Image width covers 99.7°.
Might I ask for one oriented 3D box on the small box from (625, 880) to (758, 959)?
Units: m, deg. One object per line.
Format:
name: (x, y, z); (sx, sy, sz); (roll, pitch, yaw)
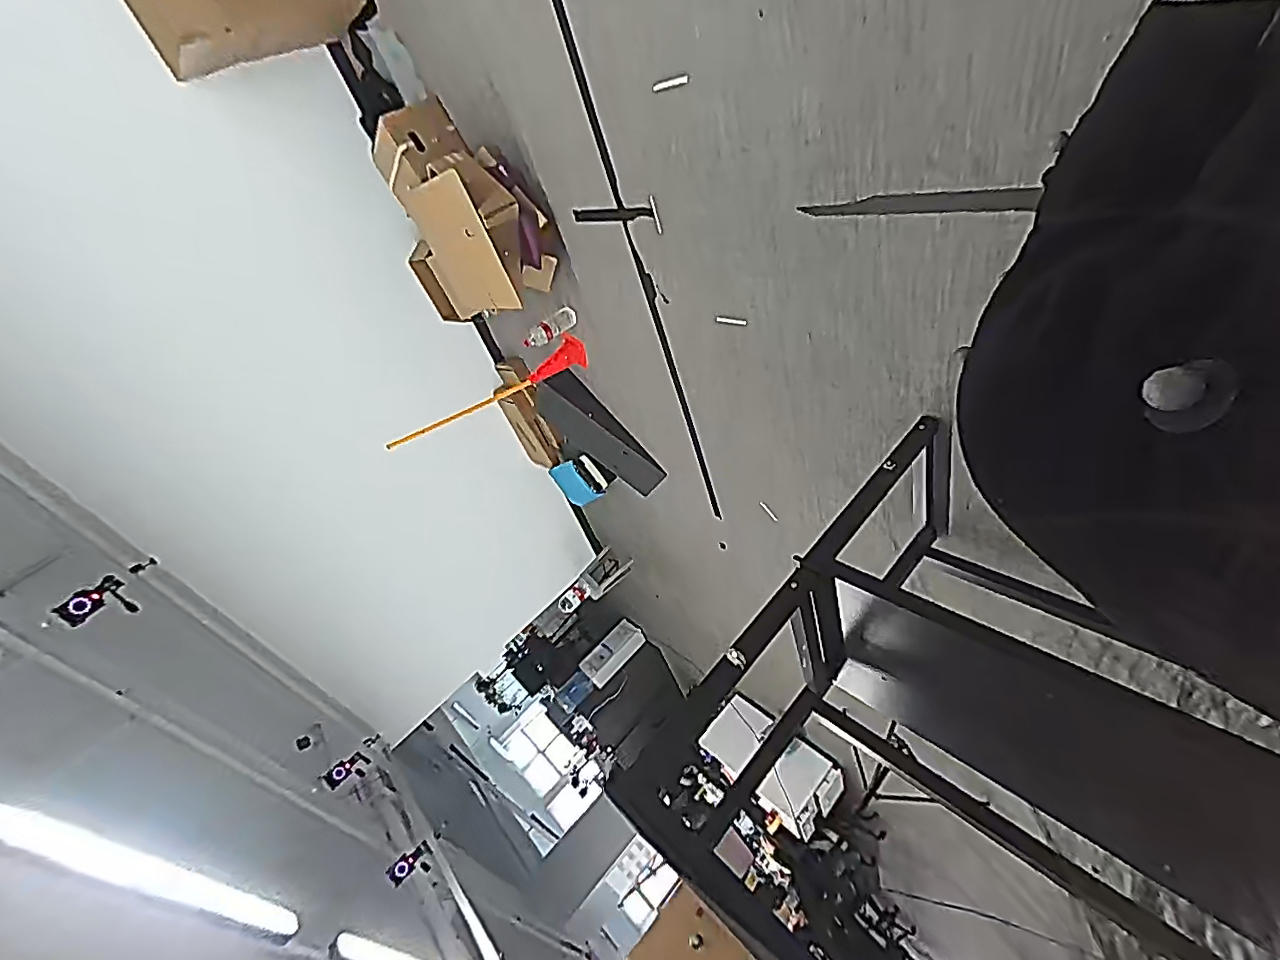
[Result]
small box: (0.107, 0.903, 1.013); (0.168, 0.176, 0.179); (24, 148, 42)
